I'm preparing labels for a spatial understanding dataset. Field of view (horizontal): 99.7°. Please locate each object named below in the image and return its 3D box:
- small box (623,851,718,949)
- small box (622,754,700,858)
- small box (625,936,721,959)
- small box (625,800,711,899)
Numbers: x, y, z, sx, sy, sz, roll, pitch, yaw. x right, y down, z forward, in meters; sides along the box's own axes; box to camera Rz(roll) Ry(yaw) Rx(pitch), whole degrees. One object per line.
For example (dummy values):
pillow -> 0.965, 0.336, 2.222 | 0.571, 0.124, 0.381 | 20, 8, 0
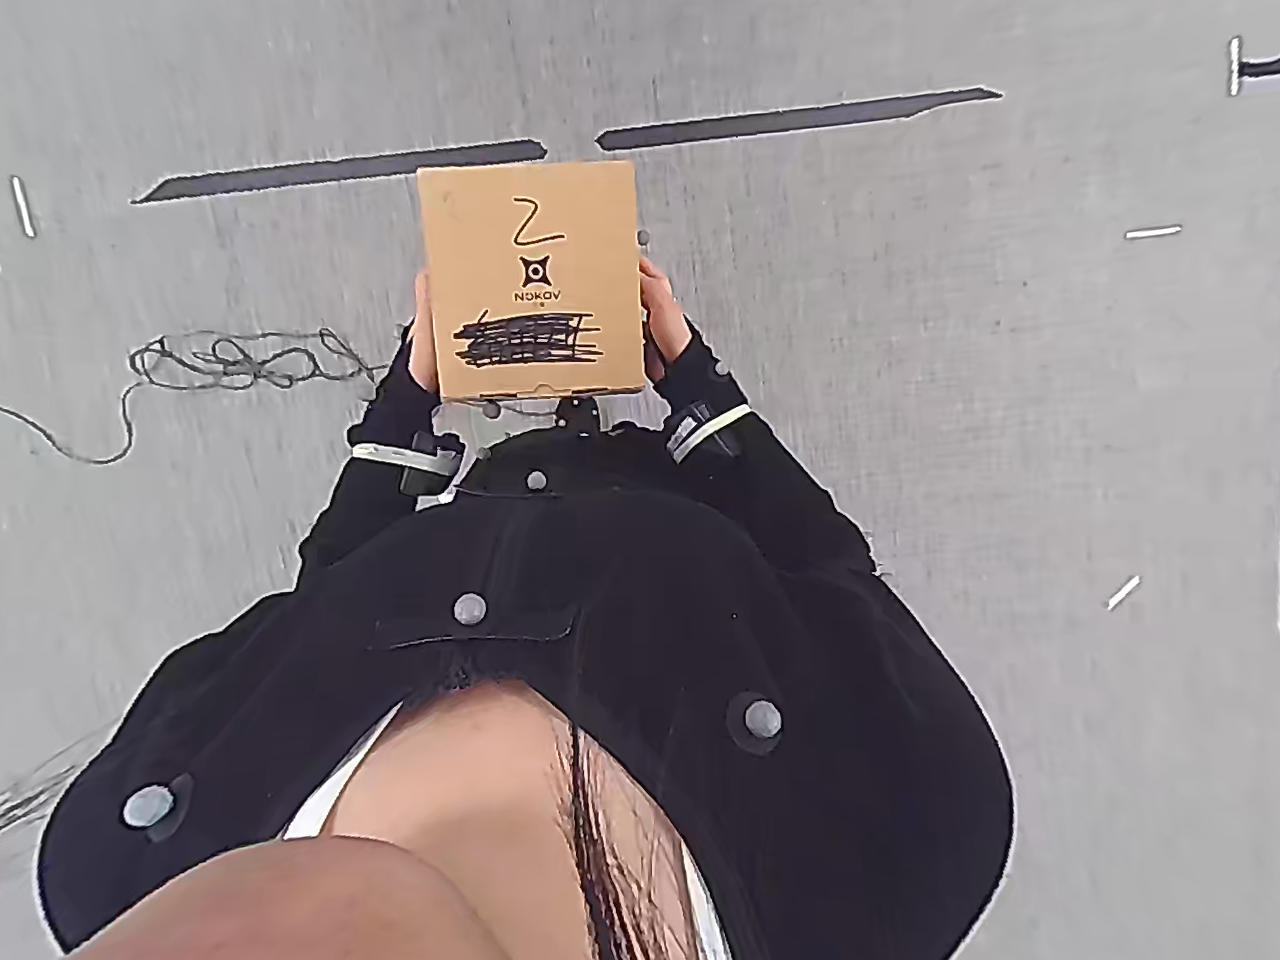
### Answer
small box -> 0.054, 0.868, 1.050 | 0.168, 0.176, 0.179 | -1, 96, -4
small box -> 0.047, 0.822, 1.373 | 0.179, 0.176, 0.168 | 2, 96, -4
small box -> 0.064, 0.897, 0.889 | 0.168, 0.176, 0.179 | -4, 96, -3
small box -> 0.058, 0.850, 1.214 | 0.179, 0.176, 0.168 | -1, 96, -3
